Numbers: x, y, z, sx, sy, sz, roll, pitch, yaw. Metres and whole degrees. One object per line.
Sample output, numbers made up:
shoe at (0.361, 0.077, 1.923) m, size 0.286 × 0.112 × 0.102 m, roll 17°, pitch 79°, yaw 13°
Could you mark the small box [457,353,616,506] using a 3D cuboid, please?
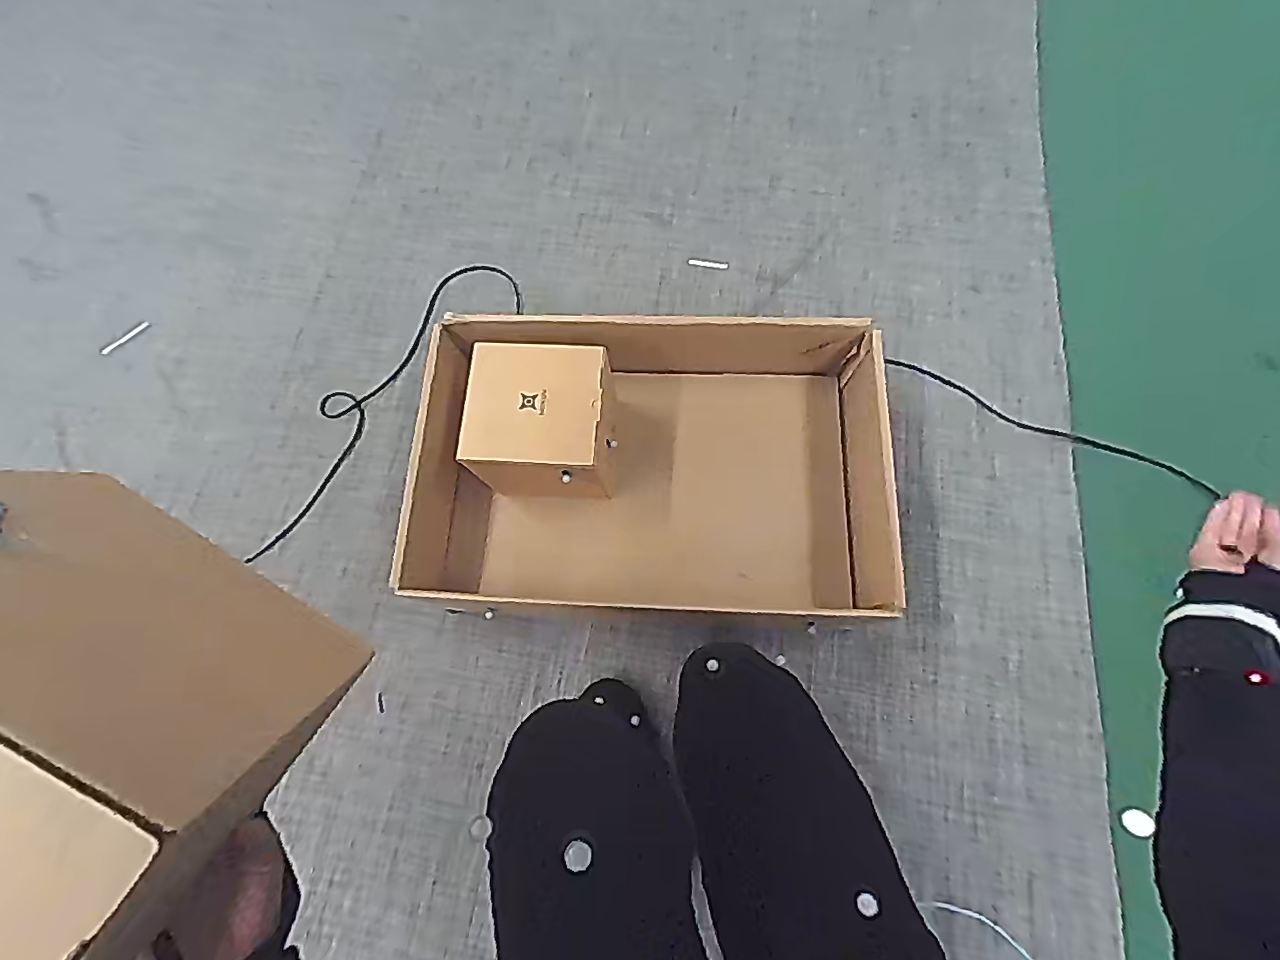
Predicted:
small box at (-0.134, -0.063, 0.765) m, size 0.179 × 0.176 × 0.168 m, roll 2°, pitch 73°, yaw 3°
